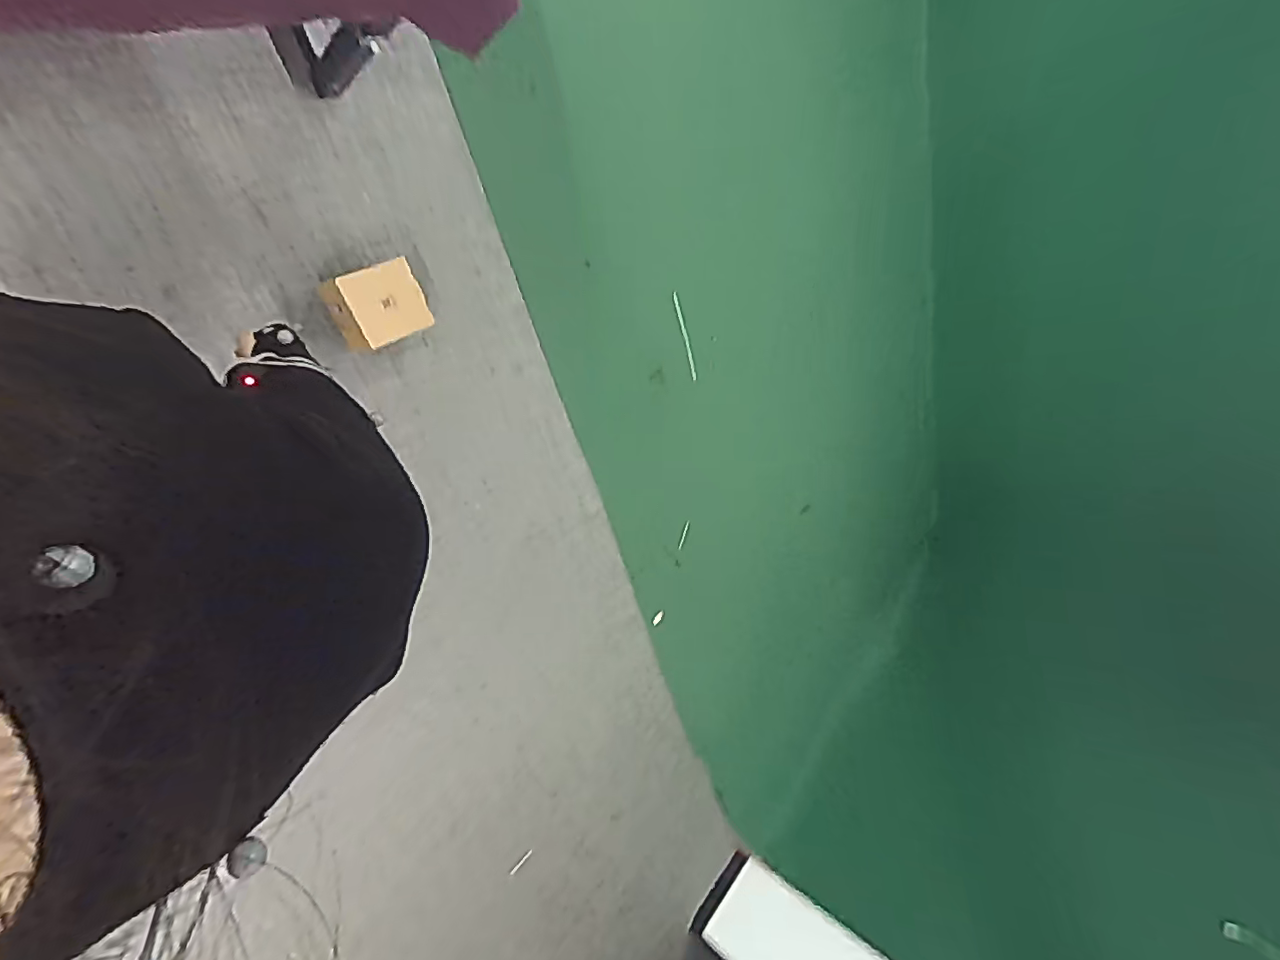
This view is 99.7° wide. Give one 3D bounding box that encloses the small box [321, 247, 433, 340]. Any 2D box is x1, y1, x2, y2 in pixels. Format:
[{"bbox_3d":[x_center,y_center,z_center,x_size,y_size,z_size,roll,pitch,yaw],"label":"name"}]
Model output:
[{"bbox_3d":[-0.650,-0.451,1.324,0.179,0.176,0.168,-39,124,-32],"label":"small box"}]
